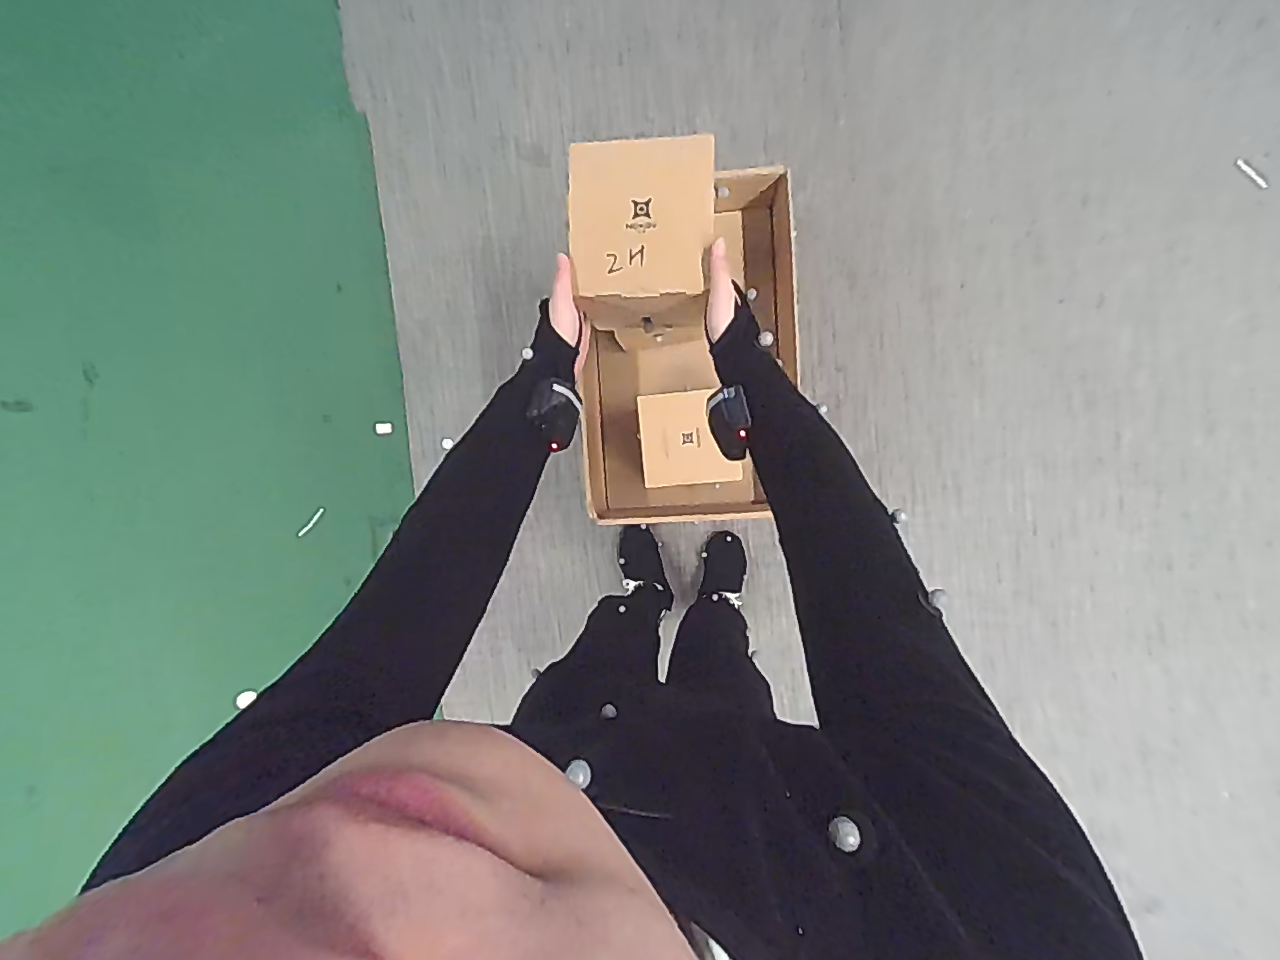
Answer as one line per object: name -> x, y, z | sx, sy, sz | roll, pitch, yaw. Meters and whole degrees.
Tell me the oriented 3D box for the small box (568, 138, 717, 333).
small box -> 0.010, -0.294, 0.684 | 0.168, 0.176, 0.179 | 1, 93, 7
